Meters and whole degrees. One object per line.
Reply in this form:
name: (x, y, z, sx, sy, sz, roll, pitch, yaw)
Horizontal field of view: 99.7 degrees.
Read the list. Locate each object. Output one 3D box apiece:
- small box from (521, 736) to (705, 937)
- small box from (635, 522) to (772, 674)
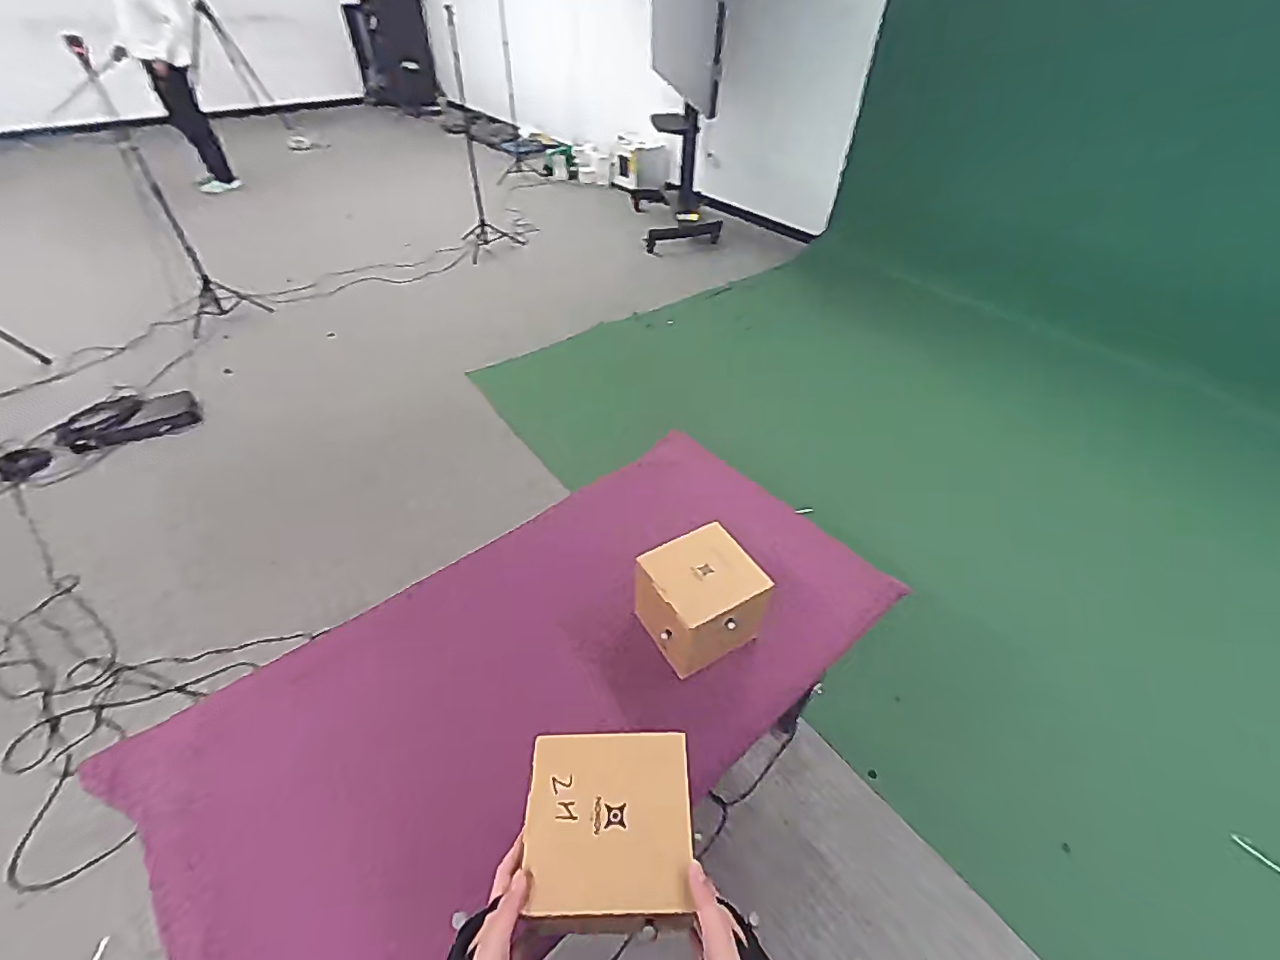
small box: (-0.022, 0.407, 0.619, 0.179, 0.176, 0.168, -2, 45, 2)
small box: (0.106, 0.211, 0.964, 0.179, 0.176, 0.168, -21, 49, -22)
